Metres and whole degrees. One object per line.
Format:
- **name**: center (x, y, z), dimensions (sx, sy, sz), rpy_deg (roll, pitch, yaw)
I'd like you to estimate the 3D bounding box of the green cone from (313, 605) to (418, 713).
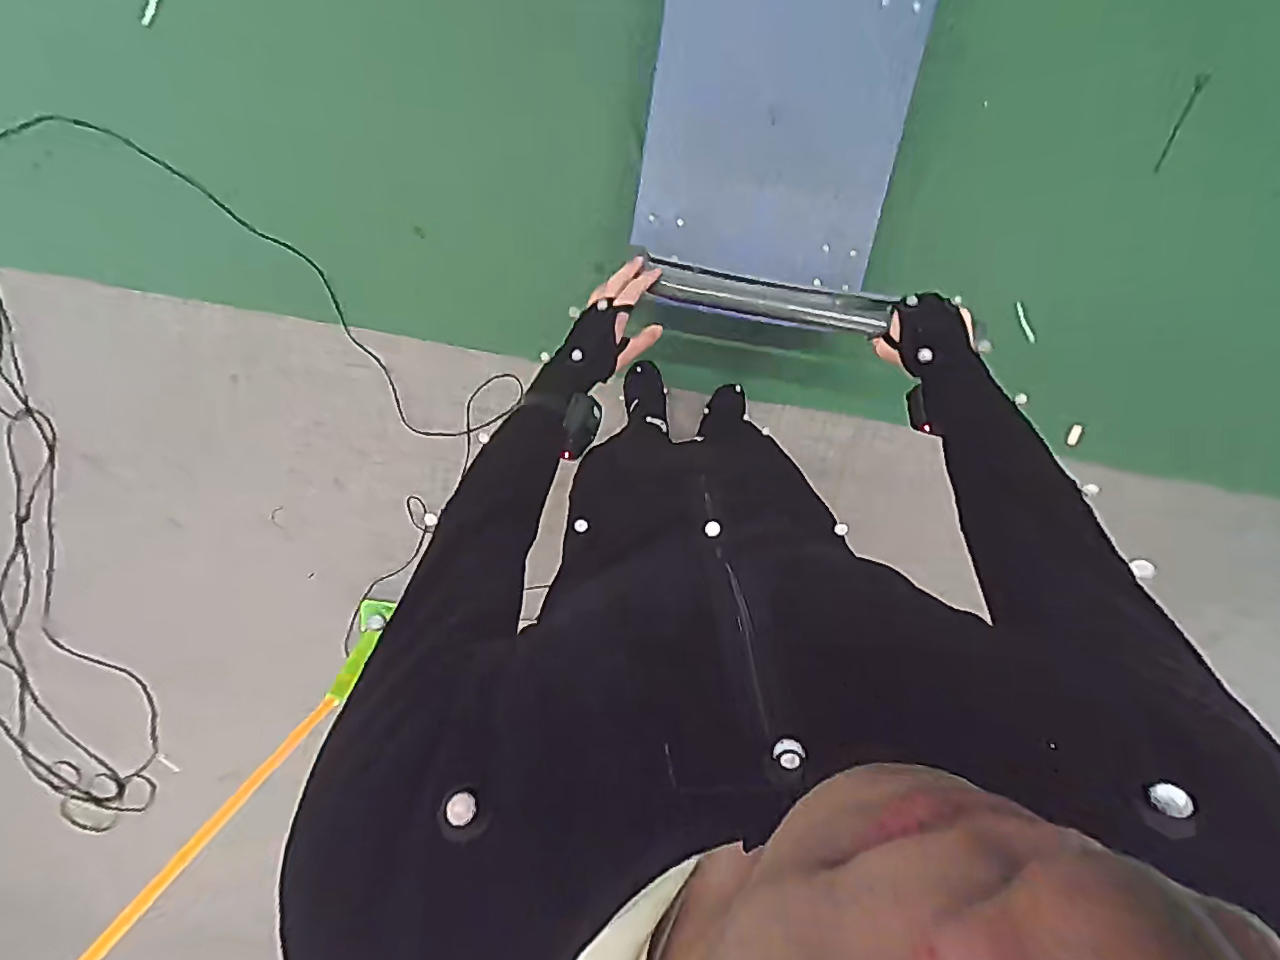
- **green cone**: center (-0.834, 0.551, 1.605), dimensions (0.202, 0.368, 0.200), rpy_deg (7, 105, 1)
